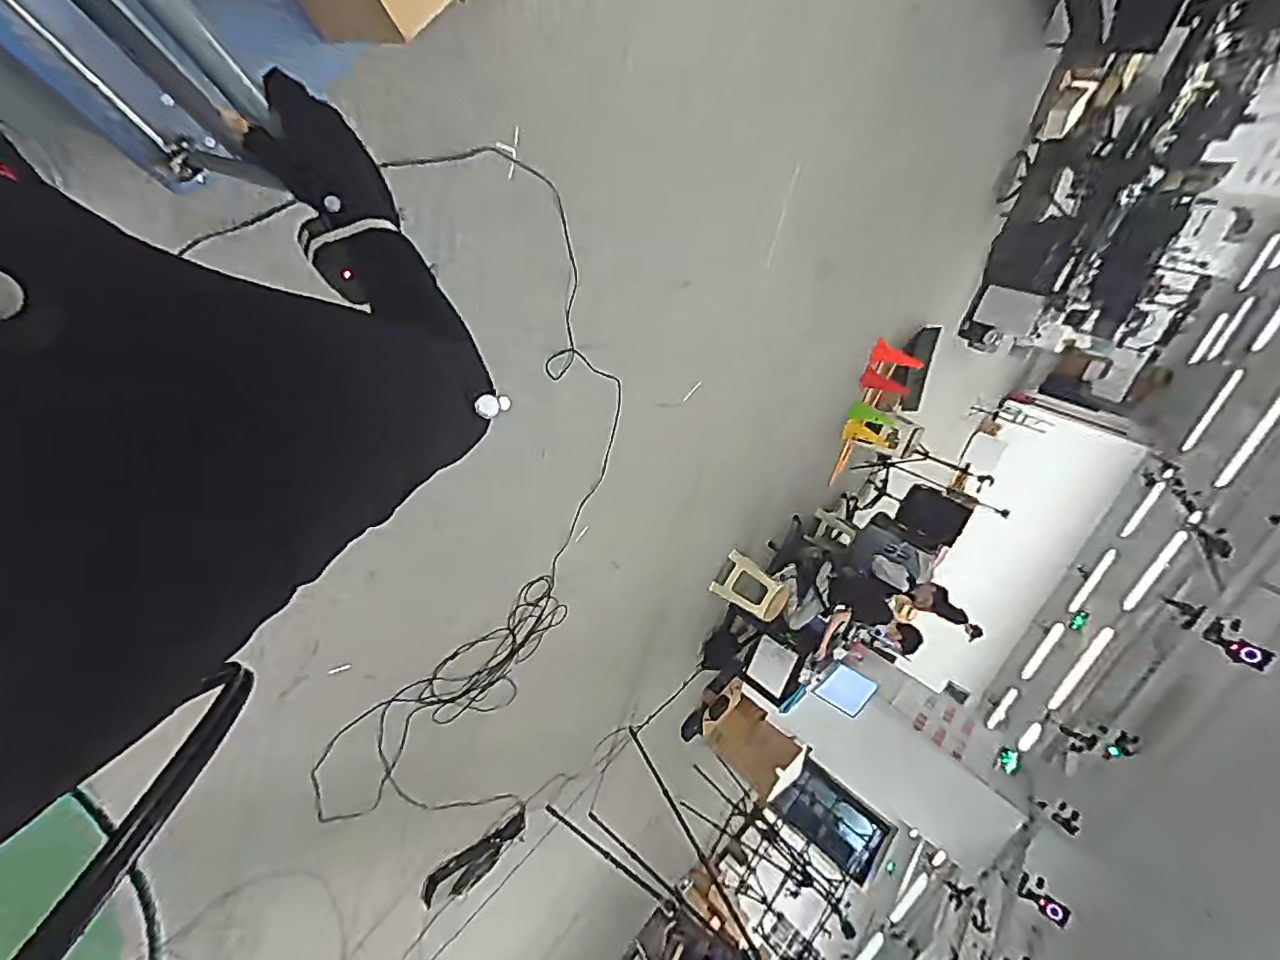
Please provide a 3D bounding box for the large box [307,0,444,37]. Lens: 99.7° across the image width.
[{"bbox_3d":[-0.437,-0.942,0.761,0.320,0.320,0.408,-53,146,-9],"label":"large box"}]
